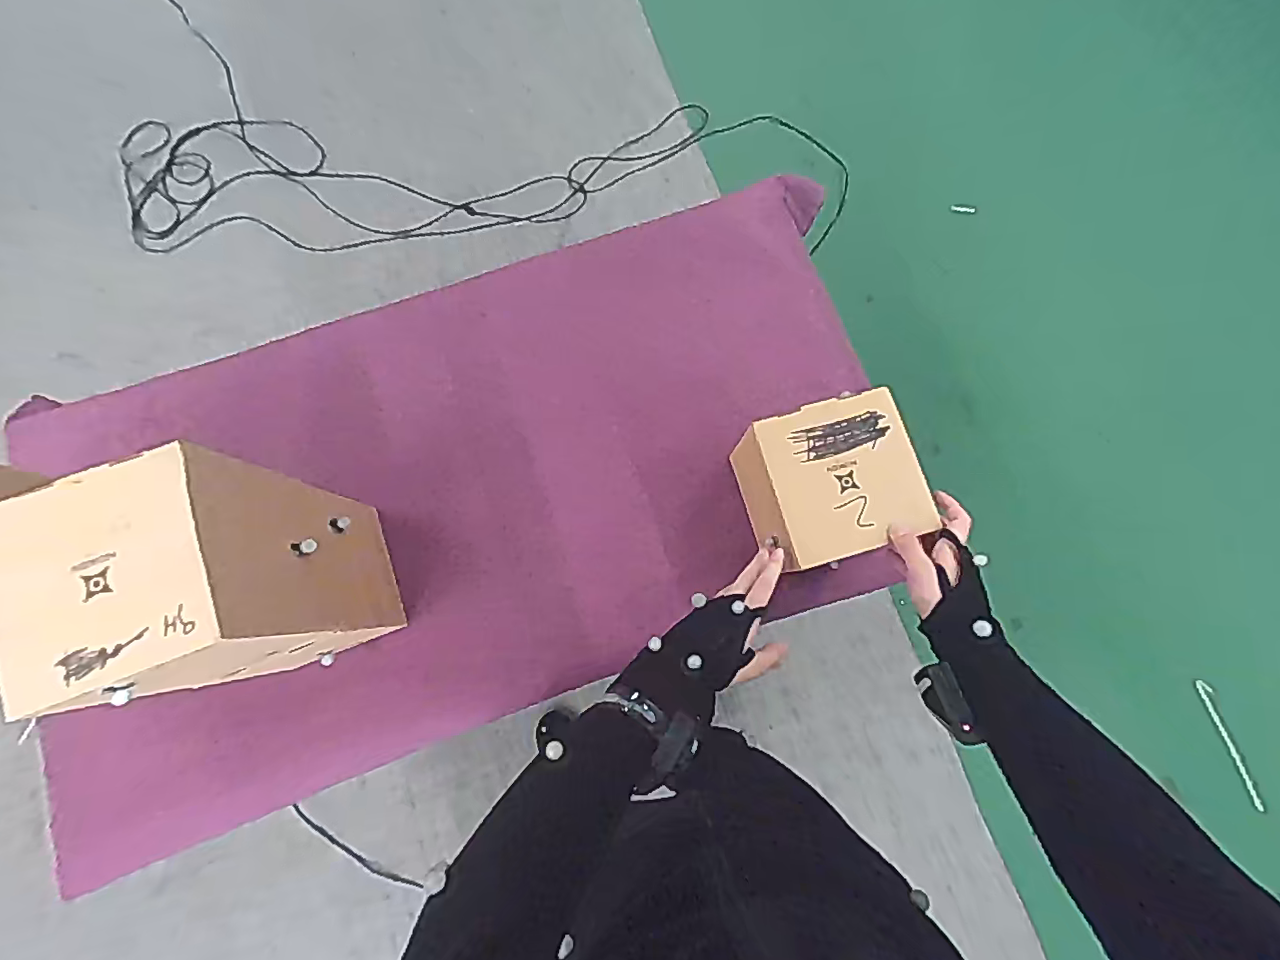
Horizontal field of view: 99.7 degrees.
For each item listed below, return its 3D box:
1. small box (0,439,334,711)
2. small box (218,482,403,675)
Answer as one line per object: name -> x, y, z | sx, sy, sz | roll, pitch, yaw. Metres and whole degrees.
small box -> -0.425, 0.088, 0.506 | 0.168, 0.176, 0.179 | -20, 78, -3
small box -> -0.422, 0.124, 0.666 | 0.168, 0.176, 0.179 | -20, 79, -3
